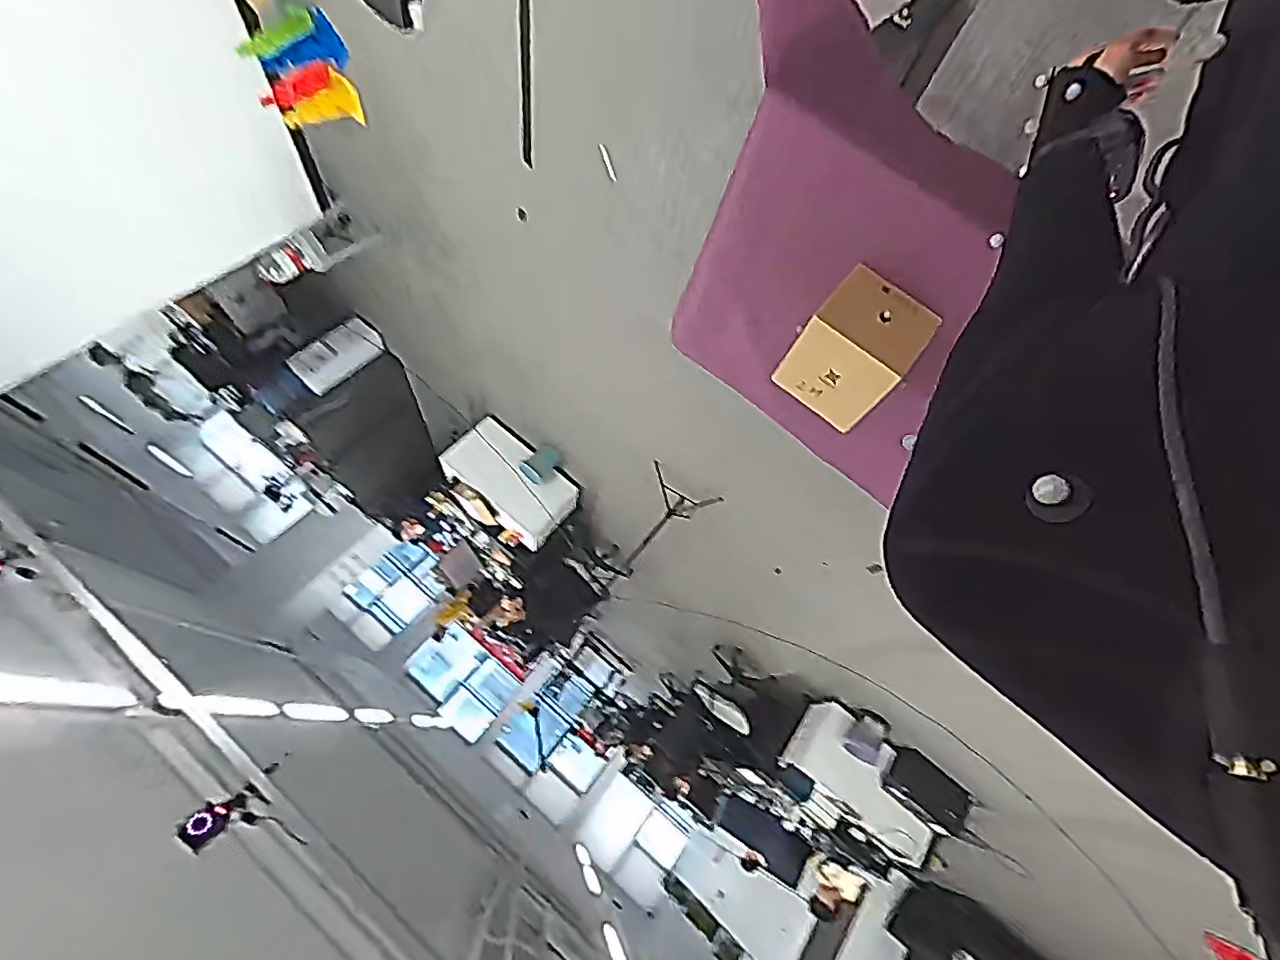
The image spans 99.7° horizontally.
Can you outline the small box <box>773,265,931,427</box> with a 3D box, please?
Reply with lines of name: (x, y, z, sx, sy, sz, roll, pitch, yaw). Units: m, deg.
small box: (0.368, -0.232, 0.935, 0.168, 0.176, 0.179, 39, 155, 7)
